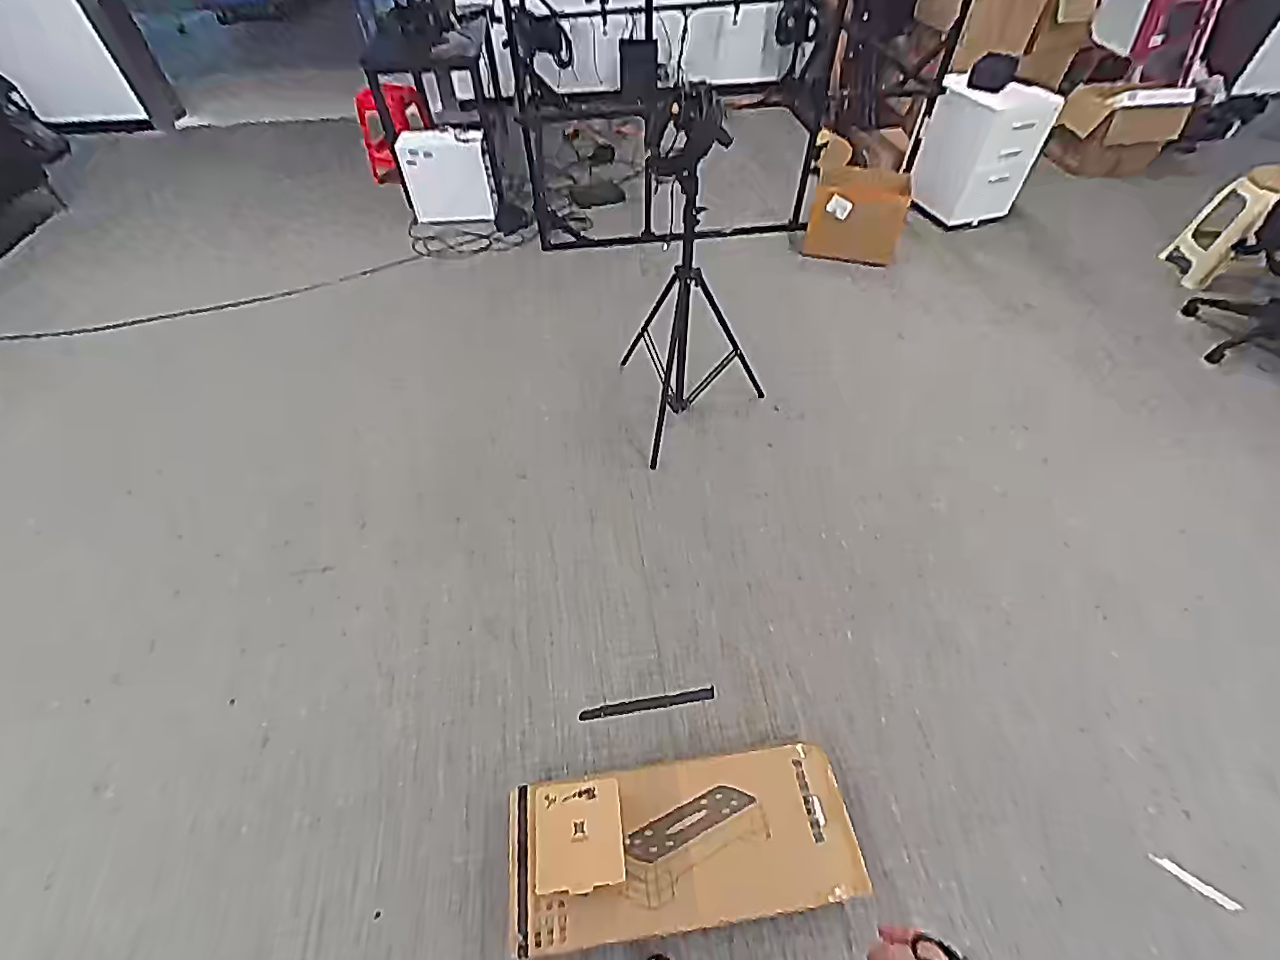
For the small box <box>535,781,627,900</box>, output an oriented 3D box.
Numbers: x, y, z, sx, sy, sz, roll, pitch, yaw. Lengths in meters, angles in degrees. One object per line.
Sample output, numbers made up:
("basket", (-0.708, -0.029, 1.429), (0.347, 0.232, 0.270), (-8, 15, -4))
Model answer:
("small box", (-0.115, 0.727, 1.088), (0.168, 0.176, 0.179), (-5, 51, -4))
